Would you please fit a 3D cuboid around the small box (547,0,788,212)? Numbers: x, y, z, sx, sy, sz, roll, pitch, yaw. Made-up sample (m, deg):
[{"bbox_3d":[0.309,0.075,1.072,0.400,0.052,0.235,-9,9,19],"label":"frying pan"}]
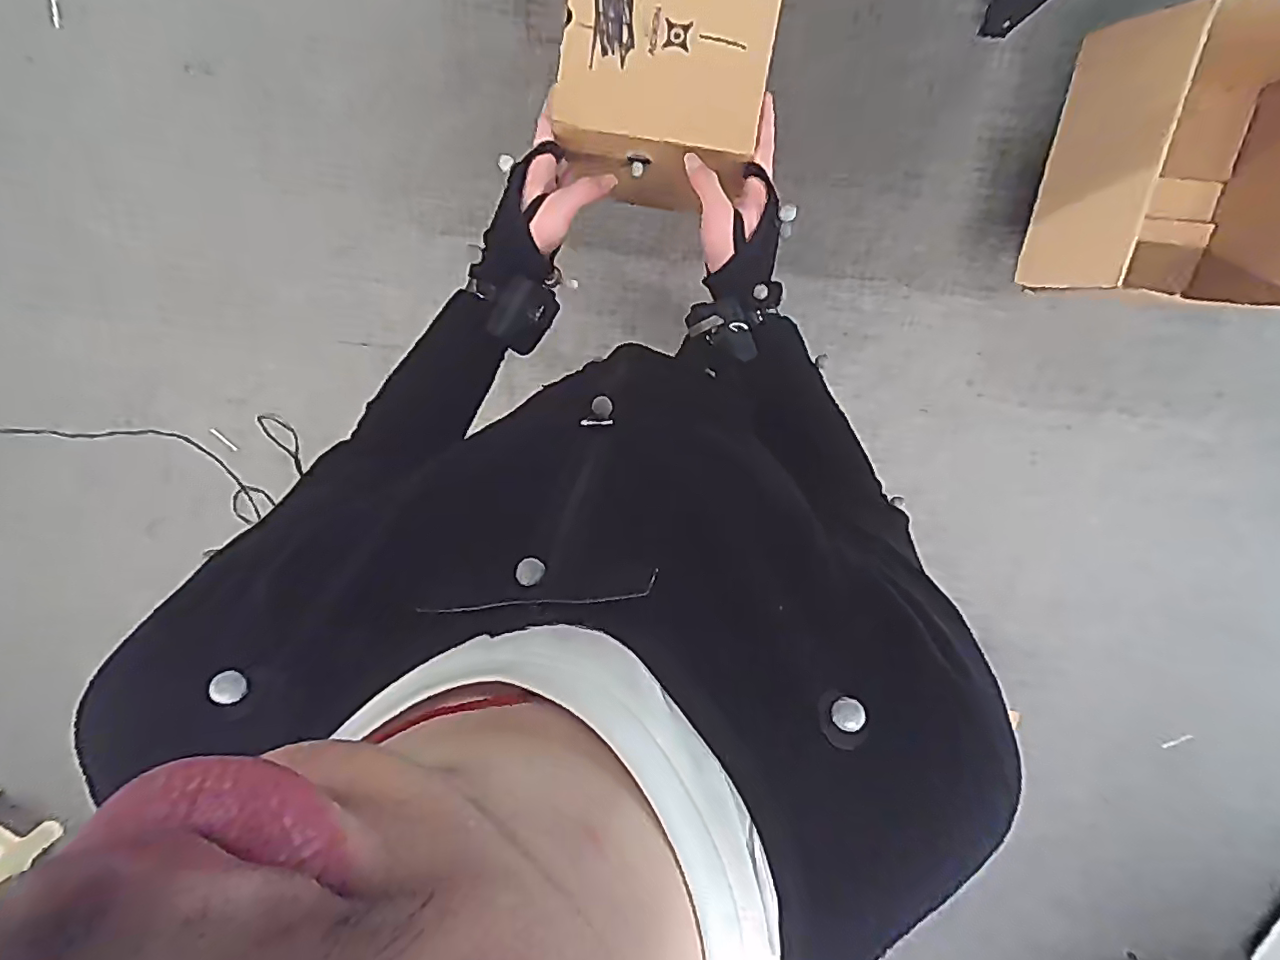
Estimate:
[{"bbox_3d":[0.029,-0.377,0.513,0.179,0.176,0.168,13,101,0],"label":"small box"}]
